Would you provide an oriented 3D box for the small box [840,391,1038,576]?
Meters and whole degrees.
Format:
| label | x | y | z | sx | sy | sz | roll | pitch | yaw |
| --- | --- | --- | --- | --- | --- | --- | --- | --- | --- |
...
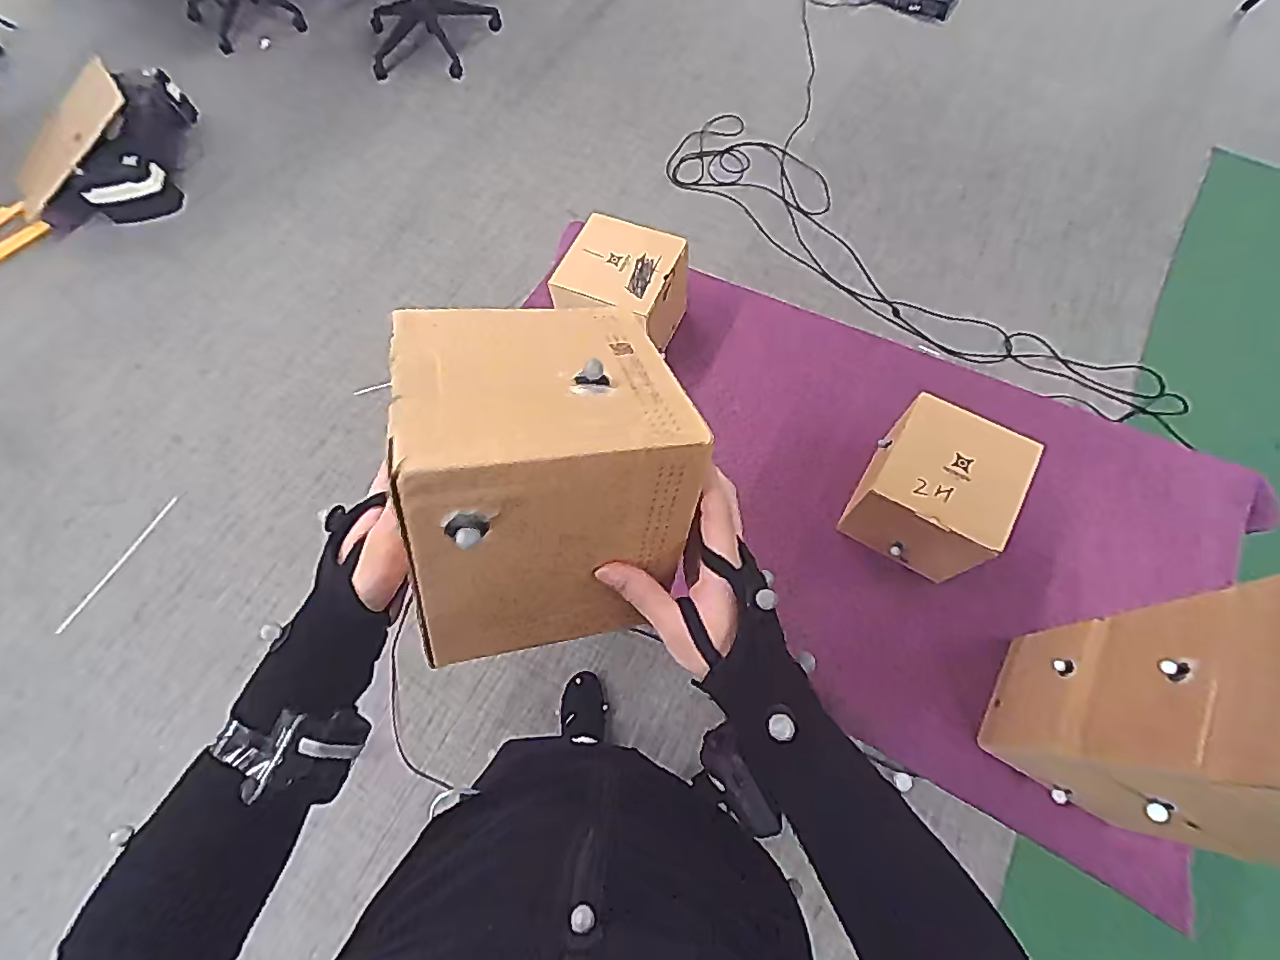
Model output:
| label | x | y | z | sx | sy | sz | roll | pitch | yaw |
| --- | --- | --- | --- | --- | --- | --- | --- | --- | --- |
| small box | 0.413 | 0.013 | 0.777 | 0.168 | 0.176 | 0.179 | 30 | 73 | 15 |

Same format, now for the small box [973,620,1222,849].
| label | x | y | z | sx | sy | sz | roll | pitch | yaw |
| --- | --- | --- | --- | --- | --- | --- | --- | --- | --- |
| small box | 0.553 | 0.293 | 0.653 | 0.179 | 0.176 | 0.168 | 30 | 71 | 14 |

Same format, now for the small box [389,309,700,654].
| label | x | y | z | sx | sy | sz | roll | pitch | yaw |
| --- | --- | --- | --- | --- | --- | --- | --- | --- | --- |
| small box | -0.071 | -0.004 | 0.384 | 0.176 | 0.179 | 0.168 | -6 | 46 | -18 |

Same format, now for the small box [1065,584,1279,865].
| label | x | y | z | sx | sy | sz | roll | pitch | yaw |
| --- | --- | --- | --- | --- | --- | --- | --- | --- | --- |
| small box | 0.548 | 0.228 | 0.503 | 0.168 | 0.176 | 0.179 | 29 | 71 | 16 |

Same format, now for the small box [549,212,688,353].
| label | x | y | z | sx | sy | sz | roll | pitch | yaw |
| --- | --- | --- | --- | --- | --- | --- | --- | --- | --- |
| small box | -0.029 | -0.318 | 0.935 | 0.179 | 0.176 | 0.168 | 22 | 71 | 12 |
